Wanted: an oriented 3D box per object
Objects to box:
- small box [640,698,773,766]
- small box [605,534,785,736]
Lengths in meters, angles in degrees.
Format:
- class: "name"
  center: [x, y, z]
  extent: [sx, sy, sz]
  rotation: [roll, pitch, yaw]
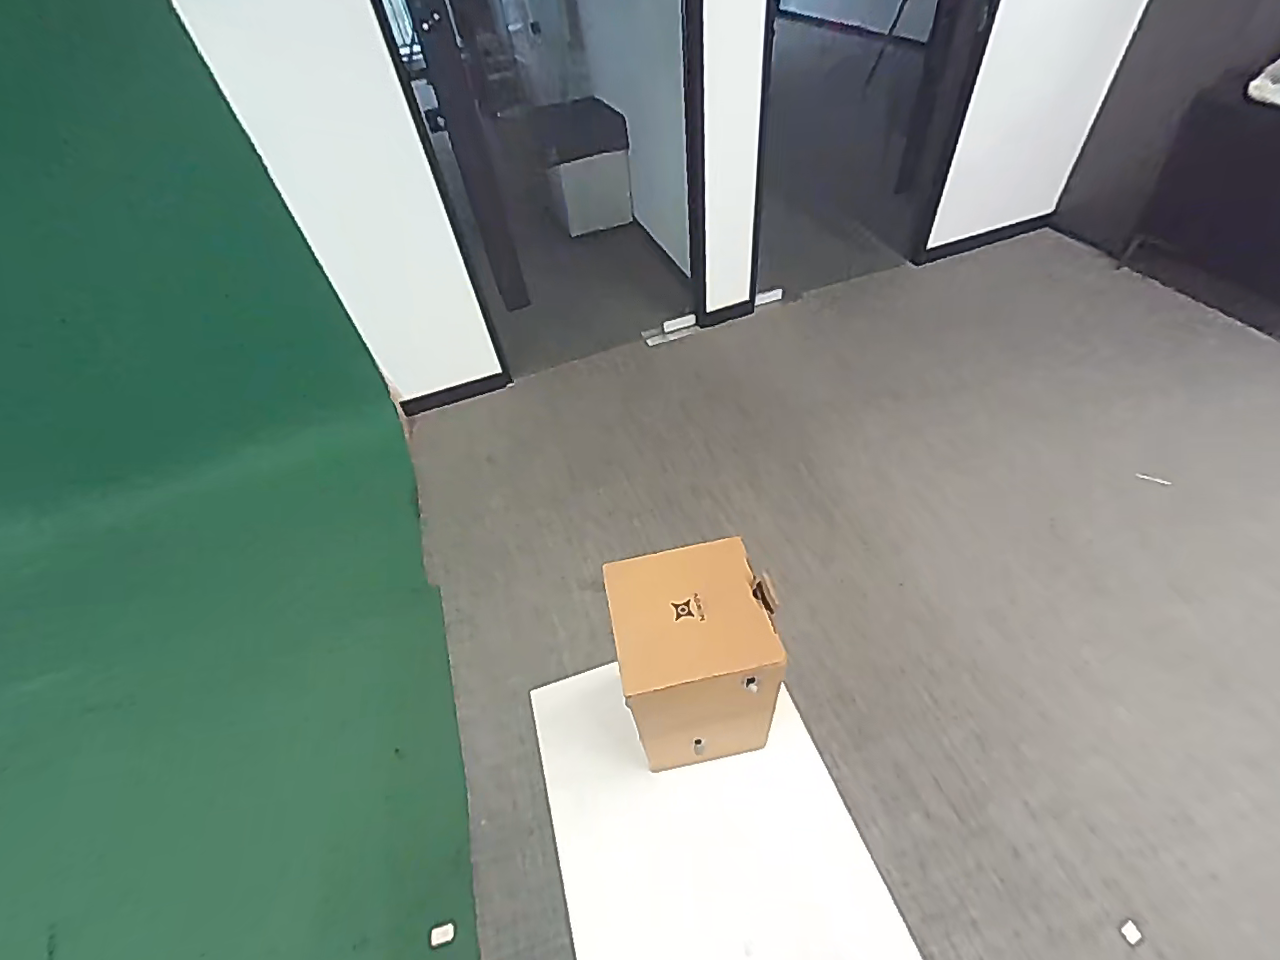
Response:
- class: "small box"
  center: [0.084, 0.300, 0.795]
  extent: [0.179, 0.176, 0.168]
  rotation: [-12, 49, -2]
- class: "small box"
  center: [0.063, 0.195, 0.670]
  extent: [0.179, 0.176, 0.168]
  rotation: [-12, 48, -3]
